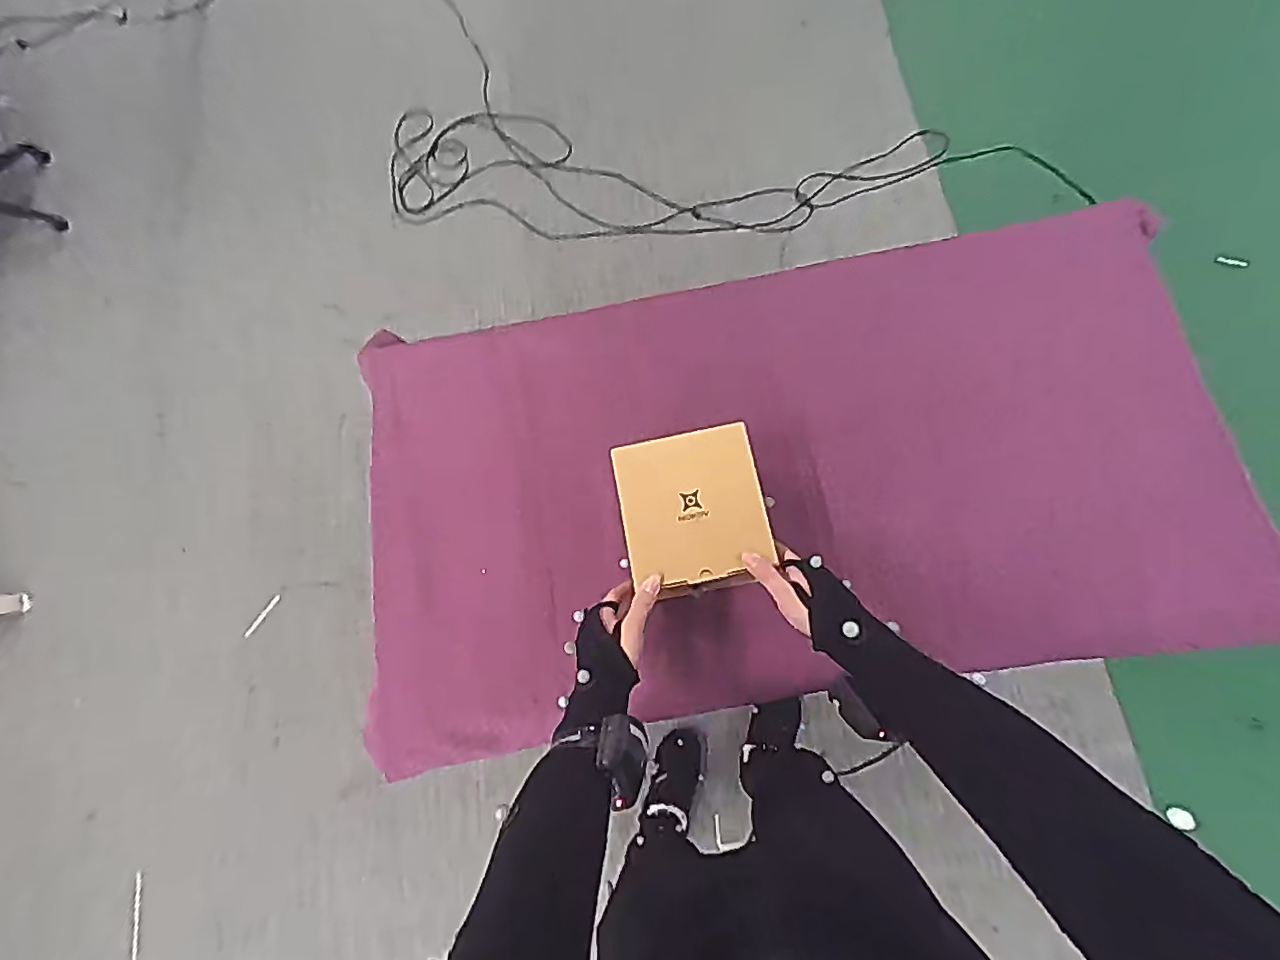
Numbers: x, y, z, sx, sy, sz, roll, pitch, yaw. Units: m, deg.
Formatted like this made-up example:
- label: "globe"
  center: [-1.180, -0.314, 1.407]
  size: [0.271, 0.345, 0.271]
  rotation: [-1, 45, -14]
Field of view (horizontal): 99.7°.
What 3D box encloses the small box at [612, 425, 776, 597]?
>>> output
- label: "small box"
  center: [0.064, 0.050, 0.704]
  size: [0.168, 0.176, 0.179]
  rotation: [-11, 75, 2]
